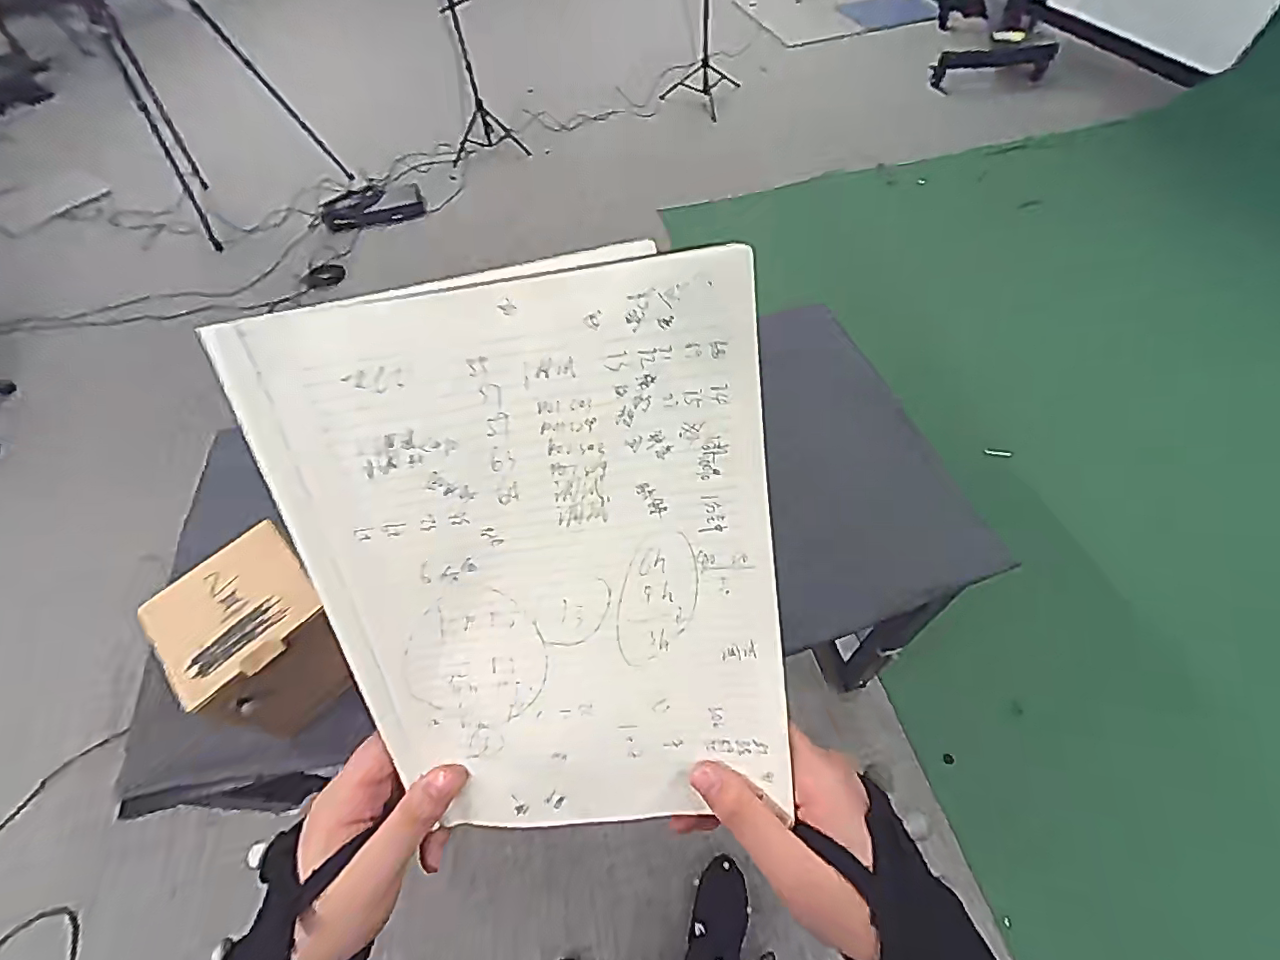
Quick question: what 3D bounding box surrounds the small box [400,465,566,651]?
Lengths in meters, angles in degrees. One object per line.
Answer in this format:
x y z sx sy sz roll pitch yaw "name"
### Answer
-0.203 0.109 0.734 0.168 0.176 0.179 -12 55 -2 "small box"
